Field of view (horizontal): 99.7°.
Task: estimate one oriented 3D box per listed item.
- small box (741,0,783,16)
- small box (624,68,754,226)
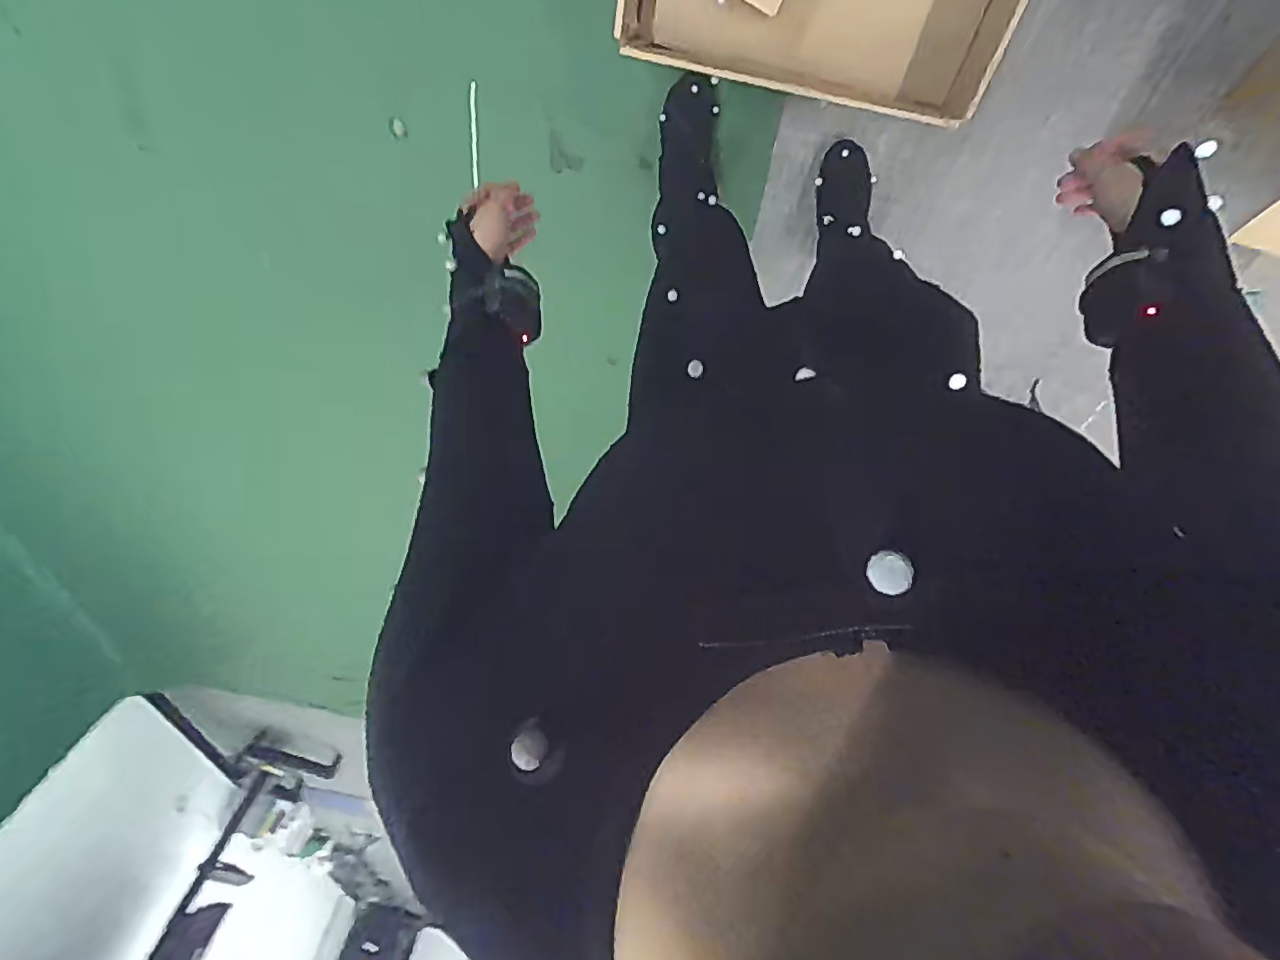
[{"bbox_3d":[0.182,-0.863,0.833,0.168,0.176,0.179,23,130,-11],"label":"small box"},{"bbox_3d":[0.105,-0.650,1.067,0.179,0.168,0.176,-41,146,9],"label":"small box"}]
